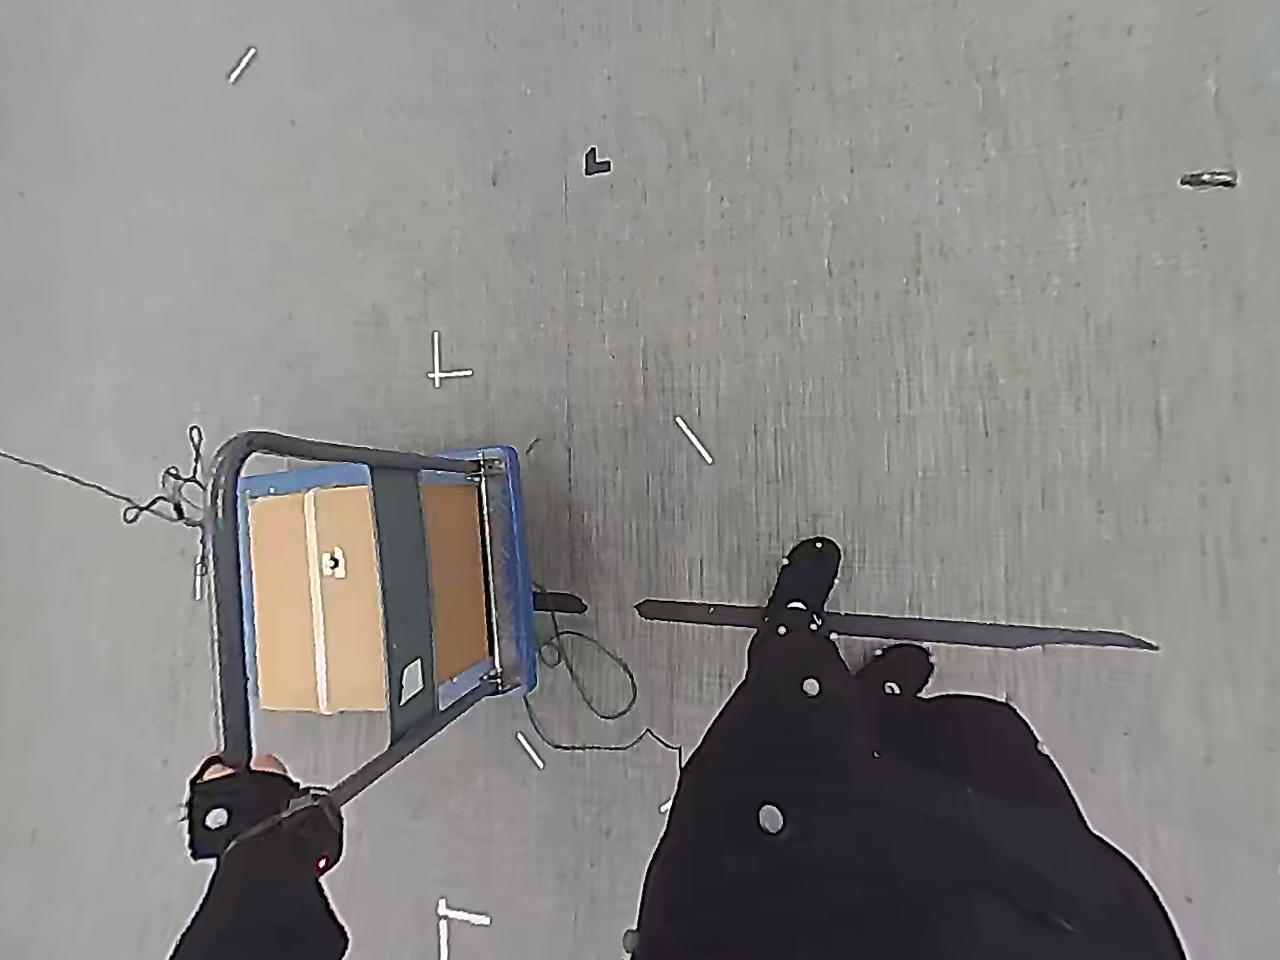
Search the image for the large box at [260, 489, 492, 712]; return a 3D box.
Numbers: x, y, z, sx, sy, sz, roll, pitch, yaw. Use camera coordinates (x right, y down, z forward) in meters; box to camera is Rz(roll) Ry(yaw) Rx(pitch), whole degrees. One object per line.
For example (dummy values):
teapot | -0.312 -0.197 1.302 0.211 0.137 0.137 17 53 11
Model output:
large box | -0.538 0.235 1.146 0.320 0.320 0.408 -6 86 14
